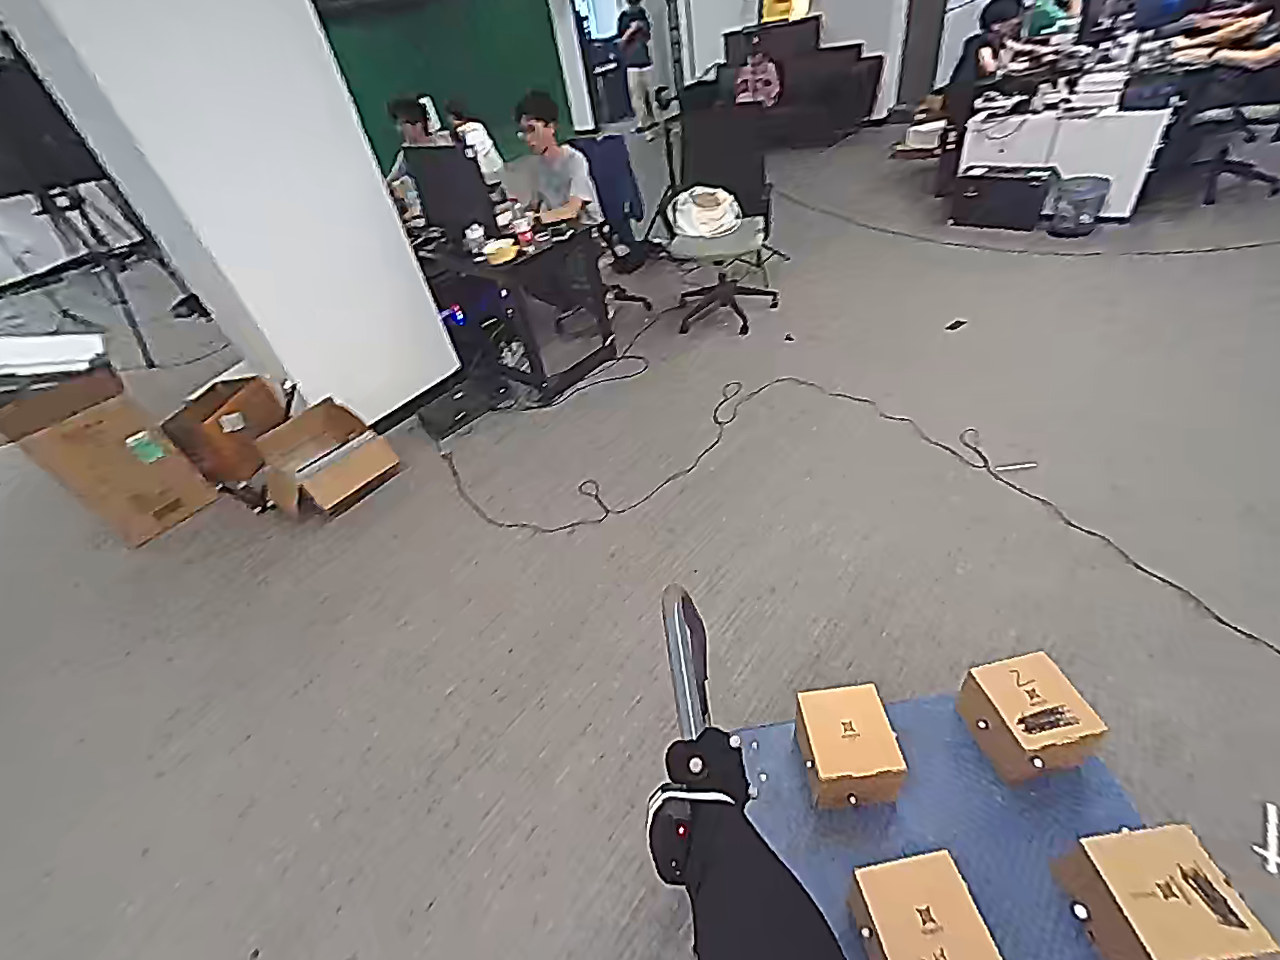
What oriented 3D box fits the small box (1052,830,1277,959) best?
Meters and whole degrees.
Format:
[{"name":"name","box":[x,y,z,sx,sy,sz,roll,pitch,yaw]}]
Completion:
[{"name":"small box","box":[0.835,0.702,0.888,0.179,0.176,0.168,-10,40,3]}]

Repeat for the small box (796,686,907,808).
[{"name":"small box","box":[0.434,0.564,1.144,0.168,0.176,0.179,-8,42,4]}]

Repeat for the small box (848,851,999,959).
[{"name":"small box","box":[0.465,0.762,0.907,0.168,0.176,0.179,-12,40,0]}]
